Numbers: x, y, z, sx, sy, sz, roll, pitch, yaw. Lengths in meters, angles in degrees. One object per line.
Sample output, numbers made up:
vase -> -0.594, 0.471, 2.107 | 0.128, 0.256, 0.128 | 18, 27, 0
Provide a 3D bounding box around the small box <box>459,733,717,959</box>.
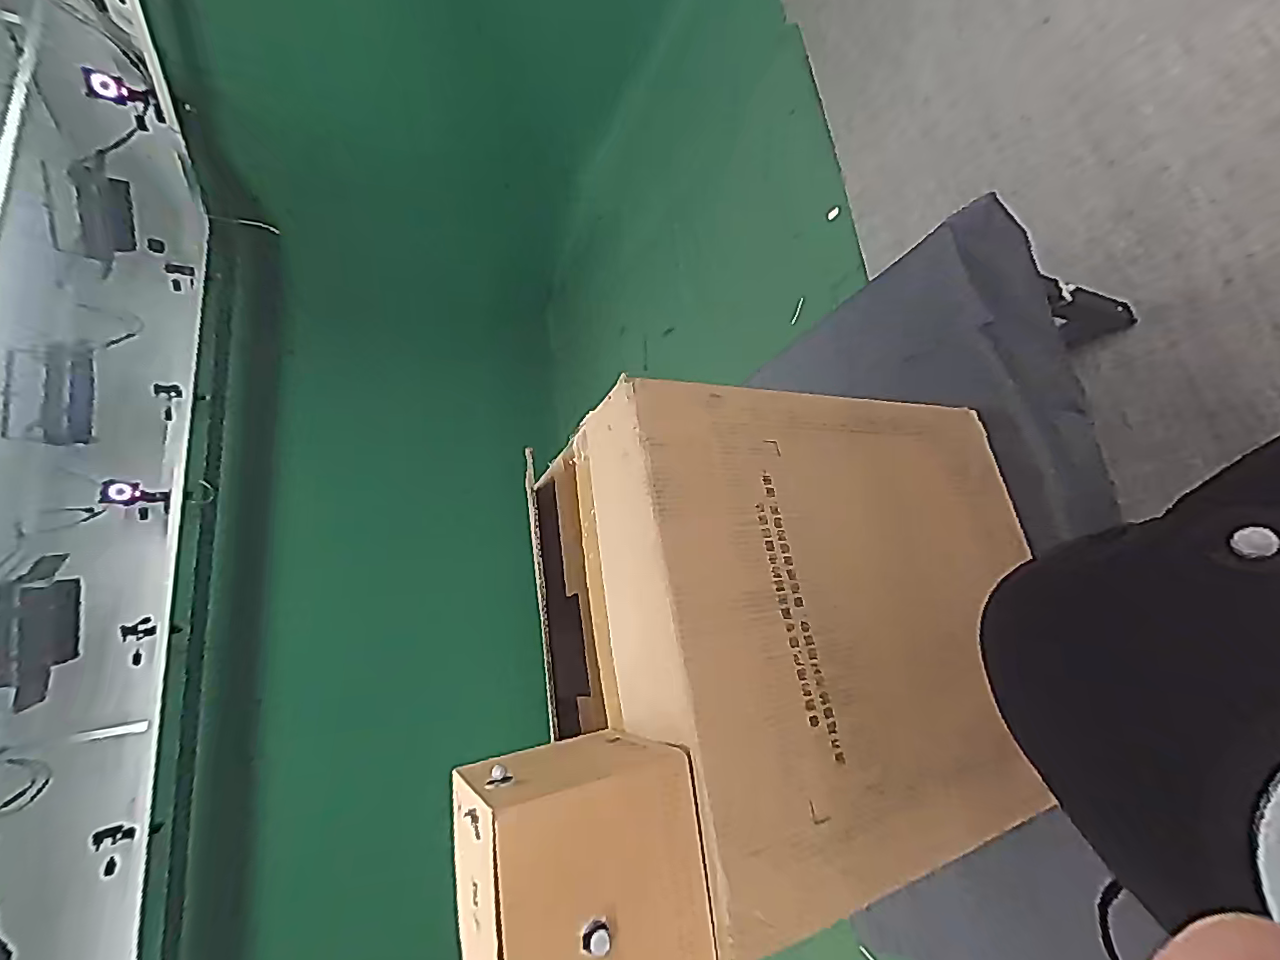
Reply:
small box -> -0.050, 0.344, 0.472 | 0.168, 0.176, 0.179 | -30, 66, 57
